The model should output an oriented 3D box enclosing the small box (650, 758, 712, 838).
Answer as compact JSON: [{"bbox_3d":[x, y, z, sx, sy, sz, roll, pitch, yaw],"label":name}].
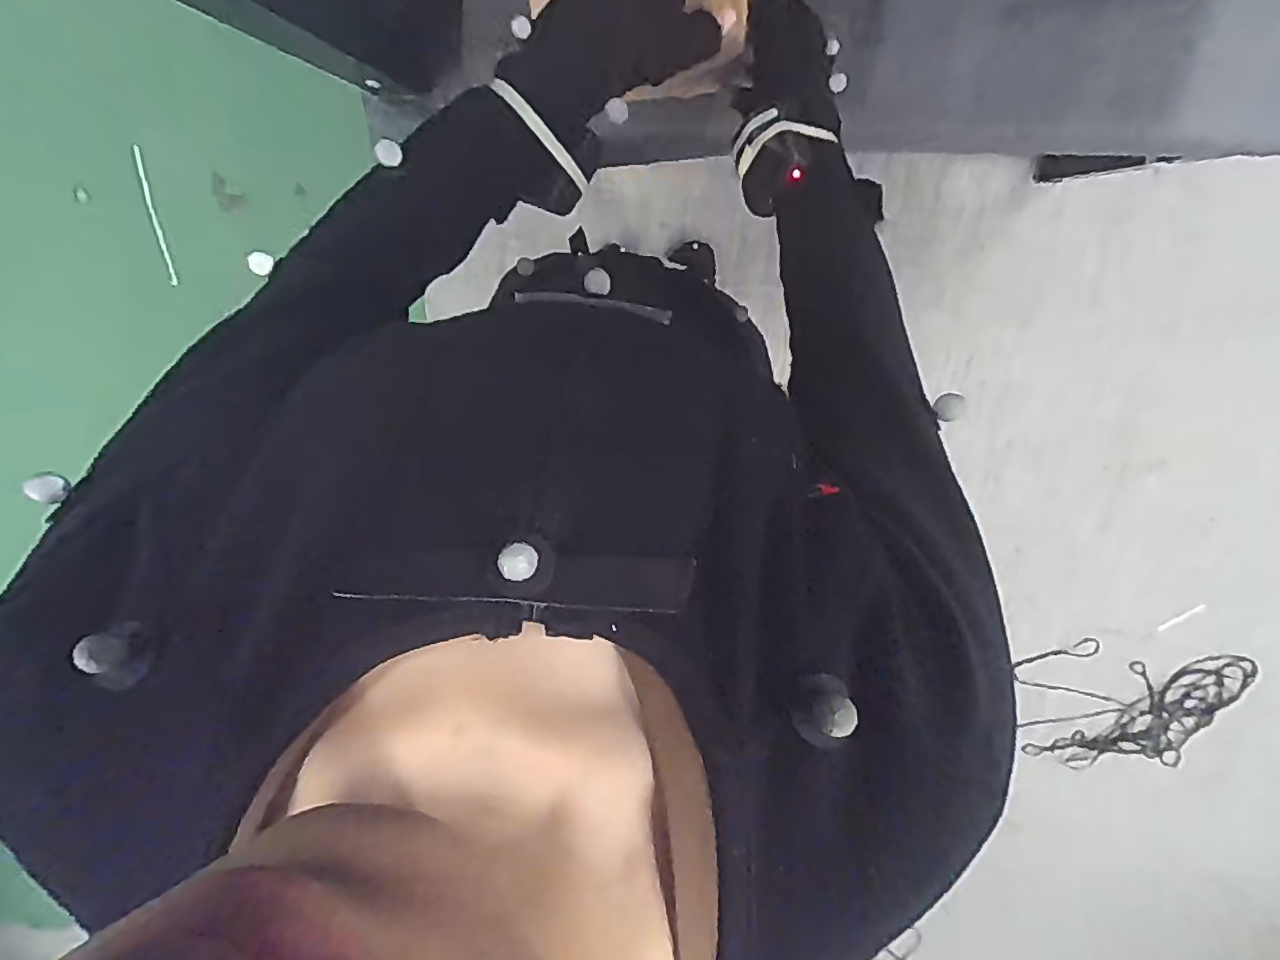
[{"bbox_3d":[0.145,1.131,1.934,0.179,0.176,0.168,16,113,-2],"label":"small box"}]

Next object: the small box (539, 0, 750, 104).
[{"bbox_3d":[0.009,-0.450,0.461,0.168,0.176,0.179,1,112,7],"label":"small box"}]
